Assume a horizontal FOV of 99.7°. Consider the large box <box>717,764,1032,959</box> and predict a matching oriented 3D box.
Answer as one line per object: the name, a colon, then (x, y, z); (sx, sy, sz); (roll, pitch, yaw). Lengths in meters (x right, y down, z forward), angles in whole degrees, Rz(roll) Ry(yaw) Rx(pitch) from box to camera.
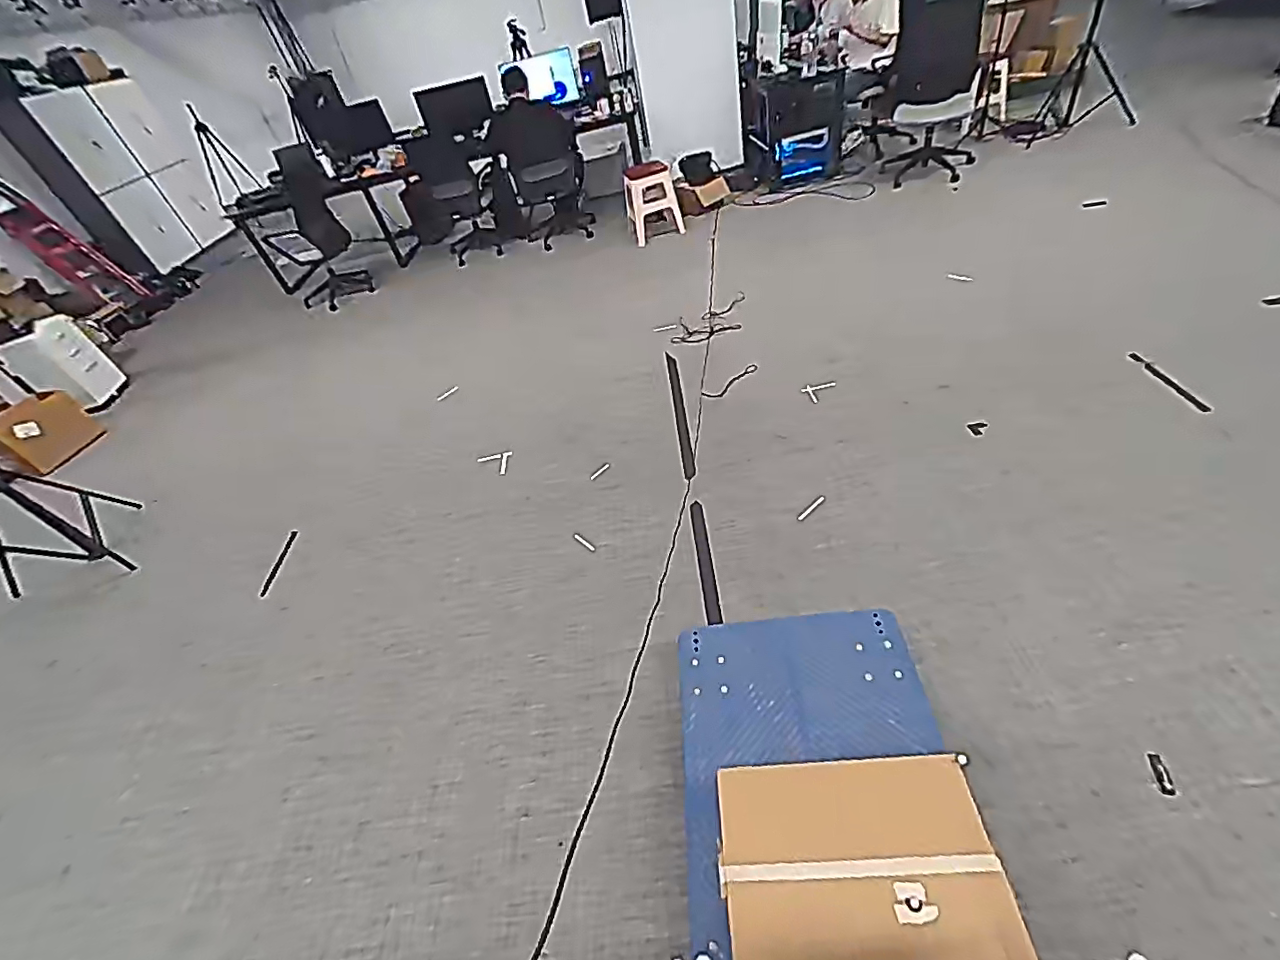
large box: (0.358, 0.713, 0.914); (0.408, 0.320, 0.320); (-8, 43, 8)
